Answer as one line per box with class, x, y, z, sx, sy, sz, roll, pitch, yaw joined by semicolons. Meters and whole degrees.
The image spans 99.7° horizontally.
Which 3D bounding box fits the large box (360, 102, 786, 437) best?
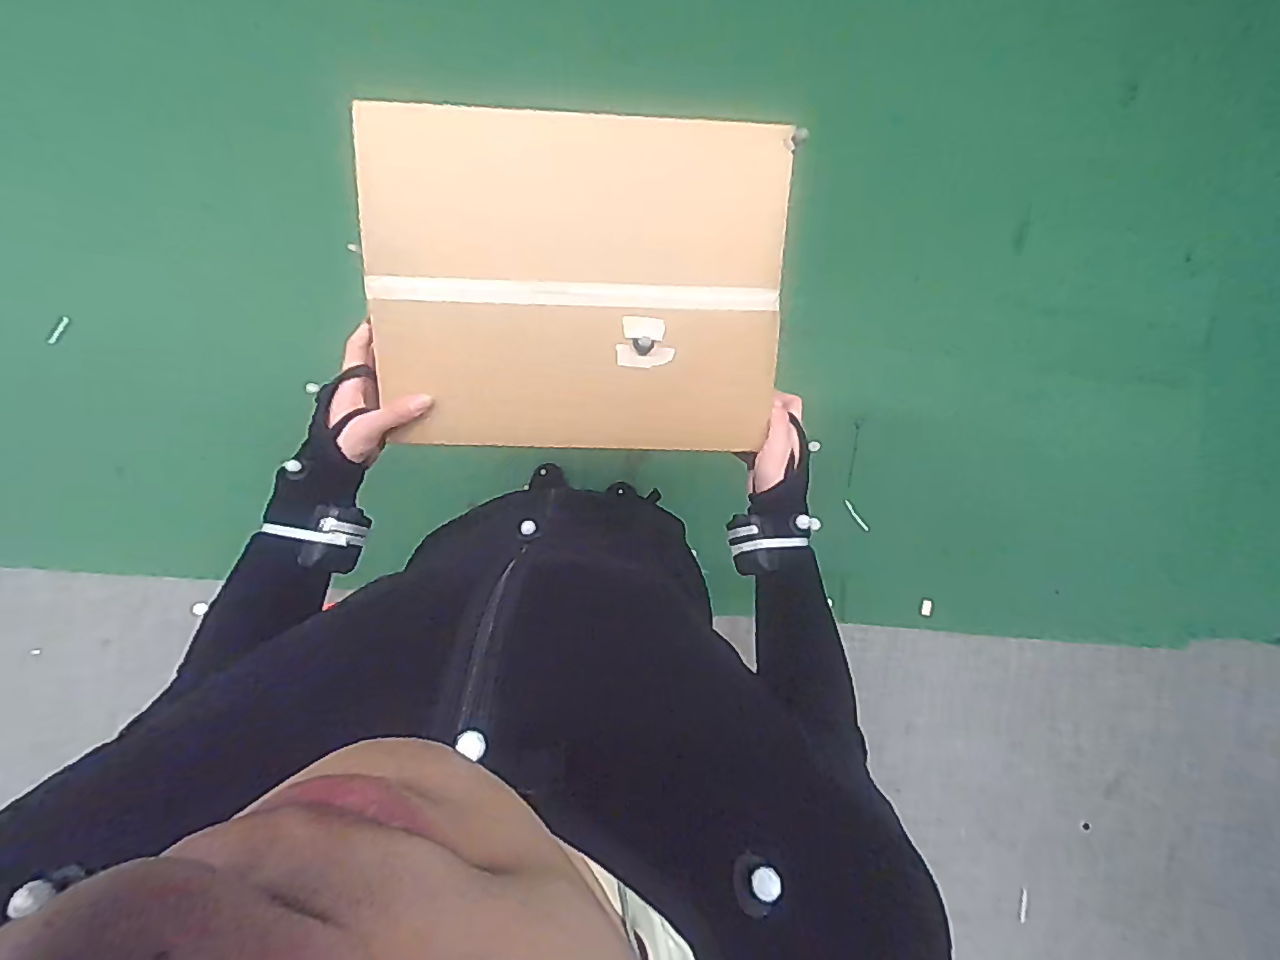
large box;-0.071;-0.234;0.684;0.408;0.320;0.320;0;106;-4
